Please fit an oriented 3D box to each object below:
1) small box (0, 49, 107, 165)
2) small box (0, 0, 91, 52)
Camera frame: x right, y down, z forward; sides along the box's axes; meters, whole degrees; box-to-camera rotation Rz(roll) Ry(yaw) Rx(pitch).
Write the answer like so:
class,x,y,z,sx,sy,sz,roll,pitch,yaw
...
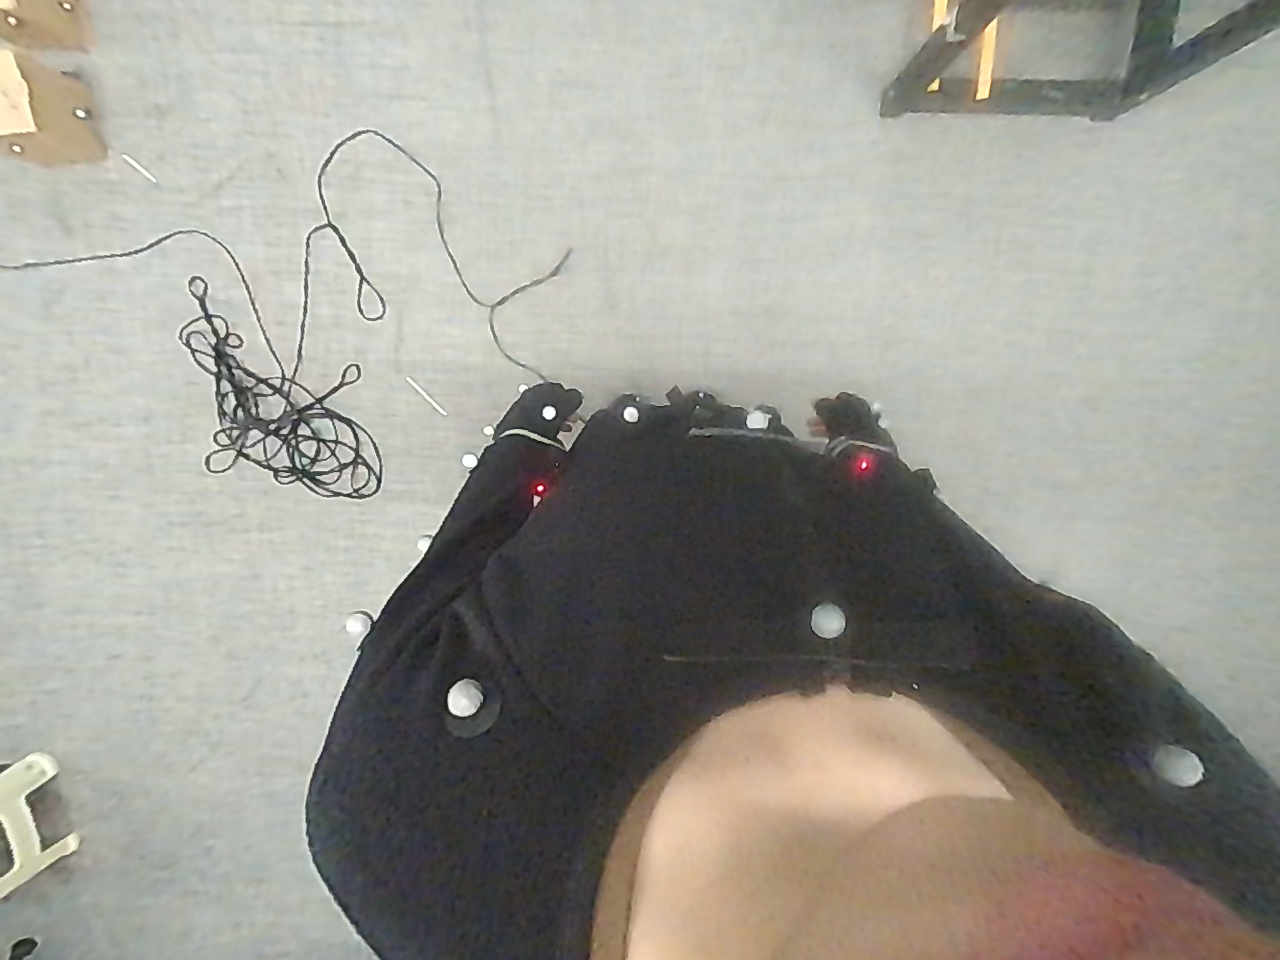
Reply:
class,x,y,z,sx,sy,sz,roll,pitch,yaw
small box,-1.421,-0.856,1.258,0.179,0.176,0.168,-6,101,1
small box,-1.410,-1.104,1.216,0.179,0.176,0.168,2,100,-1
